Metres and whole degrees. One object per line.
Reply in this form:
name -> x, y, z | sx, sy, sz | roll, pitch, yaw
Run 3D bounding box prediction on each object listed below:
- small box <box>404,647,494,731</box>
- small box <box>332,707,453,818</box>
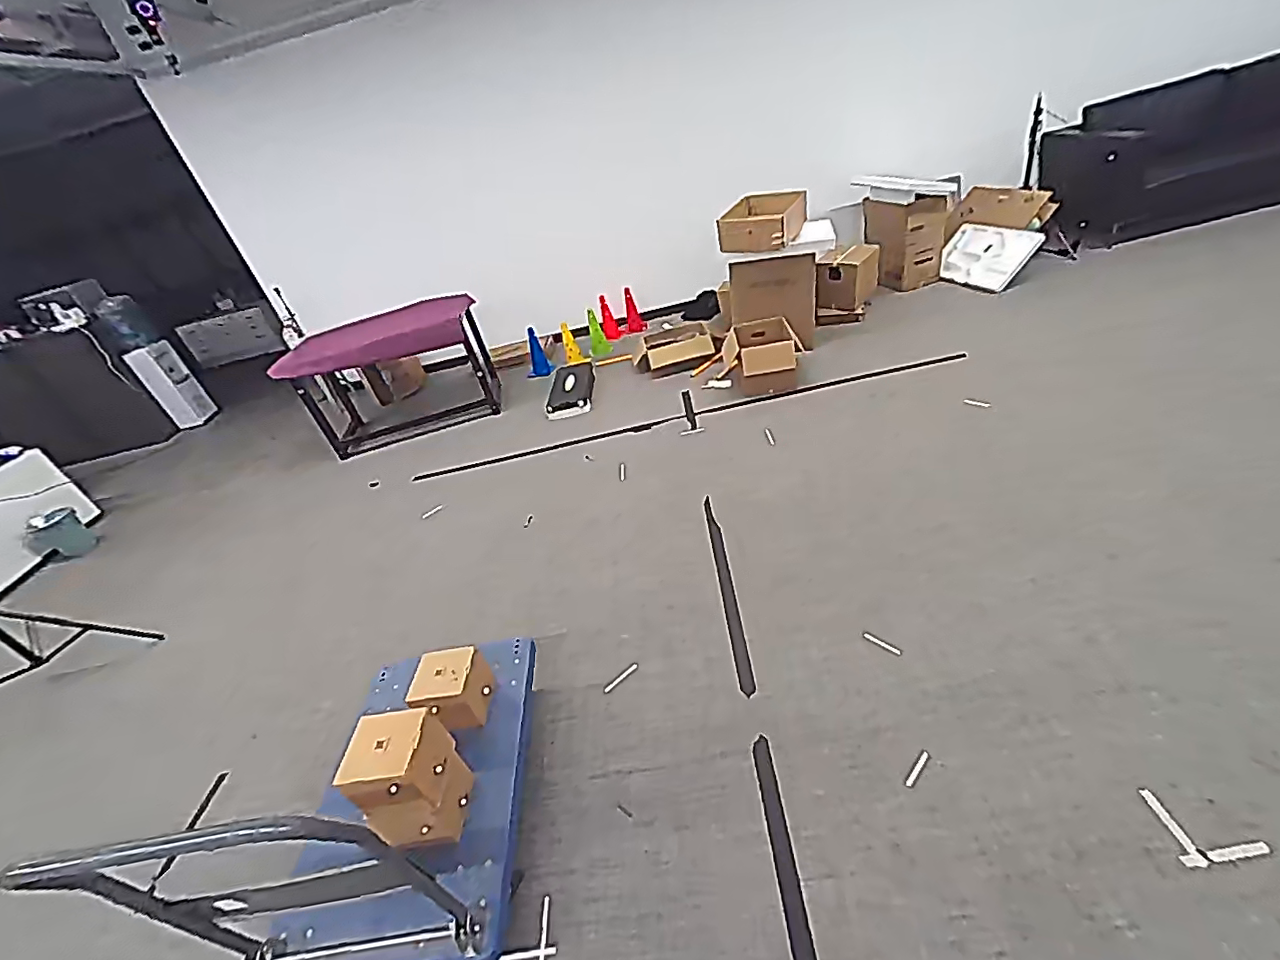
small box -> -0.566, 0.630, 1.621 | 0.179, 0.176, 0.168 | -10, 35, 7
small box -> -0.573, 0.669, 1.275 | 0.179, 0.176, 0.168 | -10, 34, 5
